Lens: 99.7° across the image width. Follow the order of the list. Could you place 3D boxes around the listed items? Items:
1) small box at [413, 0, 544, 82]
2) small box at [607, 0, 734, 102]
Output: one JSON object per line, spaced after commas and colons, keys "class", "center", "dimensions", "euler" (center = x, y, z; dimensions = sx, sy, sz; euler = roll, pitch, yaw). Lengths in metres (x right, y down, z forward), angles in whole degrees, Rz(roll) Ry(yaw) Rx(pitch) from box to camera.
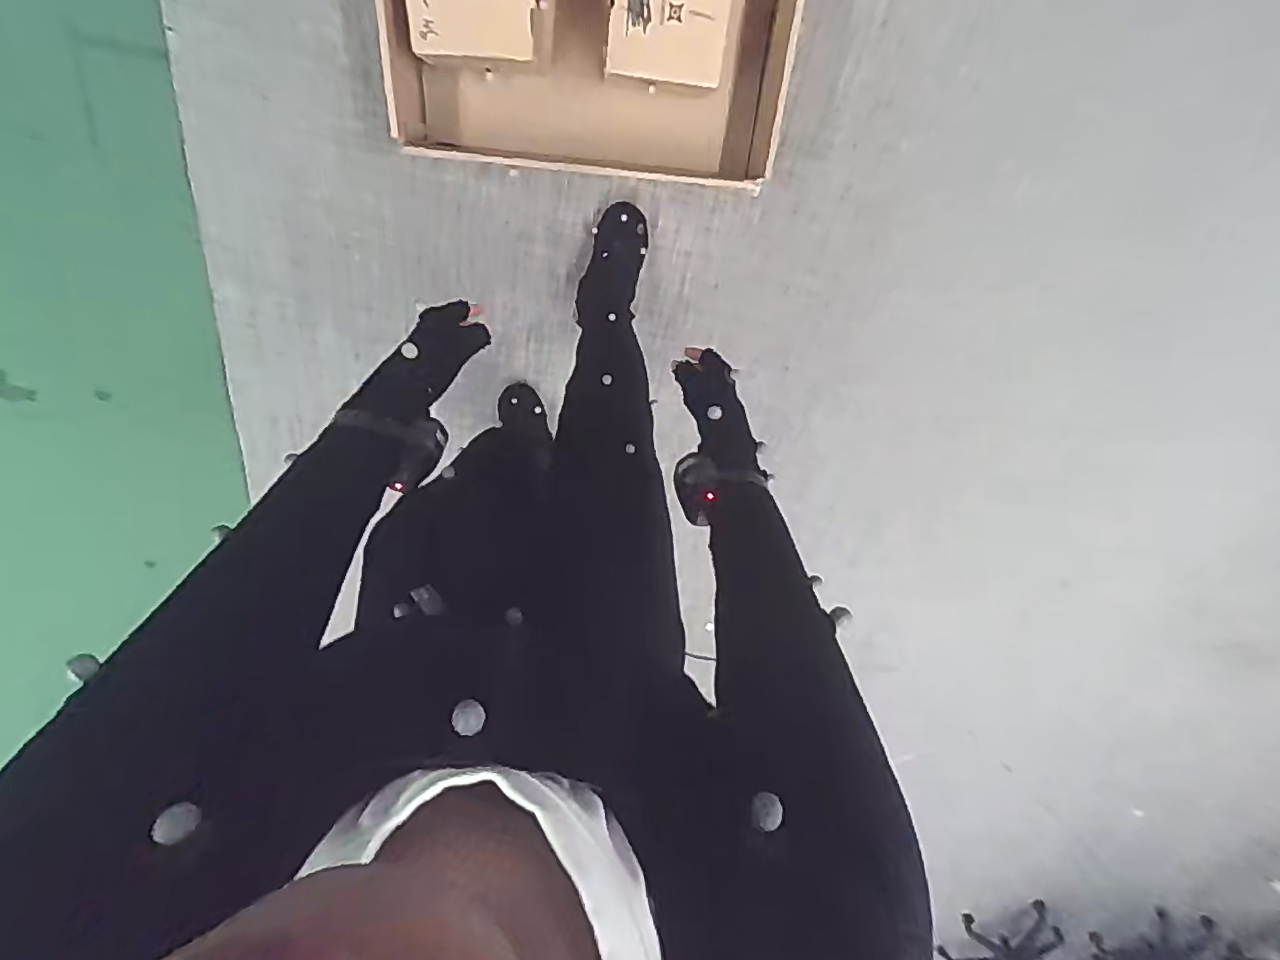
{"class": "small box", "center": [-0.238, -0.722, 0.824], "dimensions": [0.179, 0.176, 0.168], "euler": [0, 120, -5]}
{"class": "small box", "center": [0.043, -0.708, 0.849], "dimensions": [0.179, 0.176, 0.168], "euler": [4, 120, -5]}
